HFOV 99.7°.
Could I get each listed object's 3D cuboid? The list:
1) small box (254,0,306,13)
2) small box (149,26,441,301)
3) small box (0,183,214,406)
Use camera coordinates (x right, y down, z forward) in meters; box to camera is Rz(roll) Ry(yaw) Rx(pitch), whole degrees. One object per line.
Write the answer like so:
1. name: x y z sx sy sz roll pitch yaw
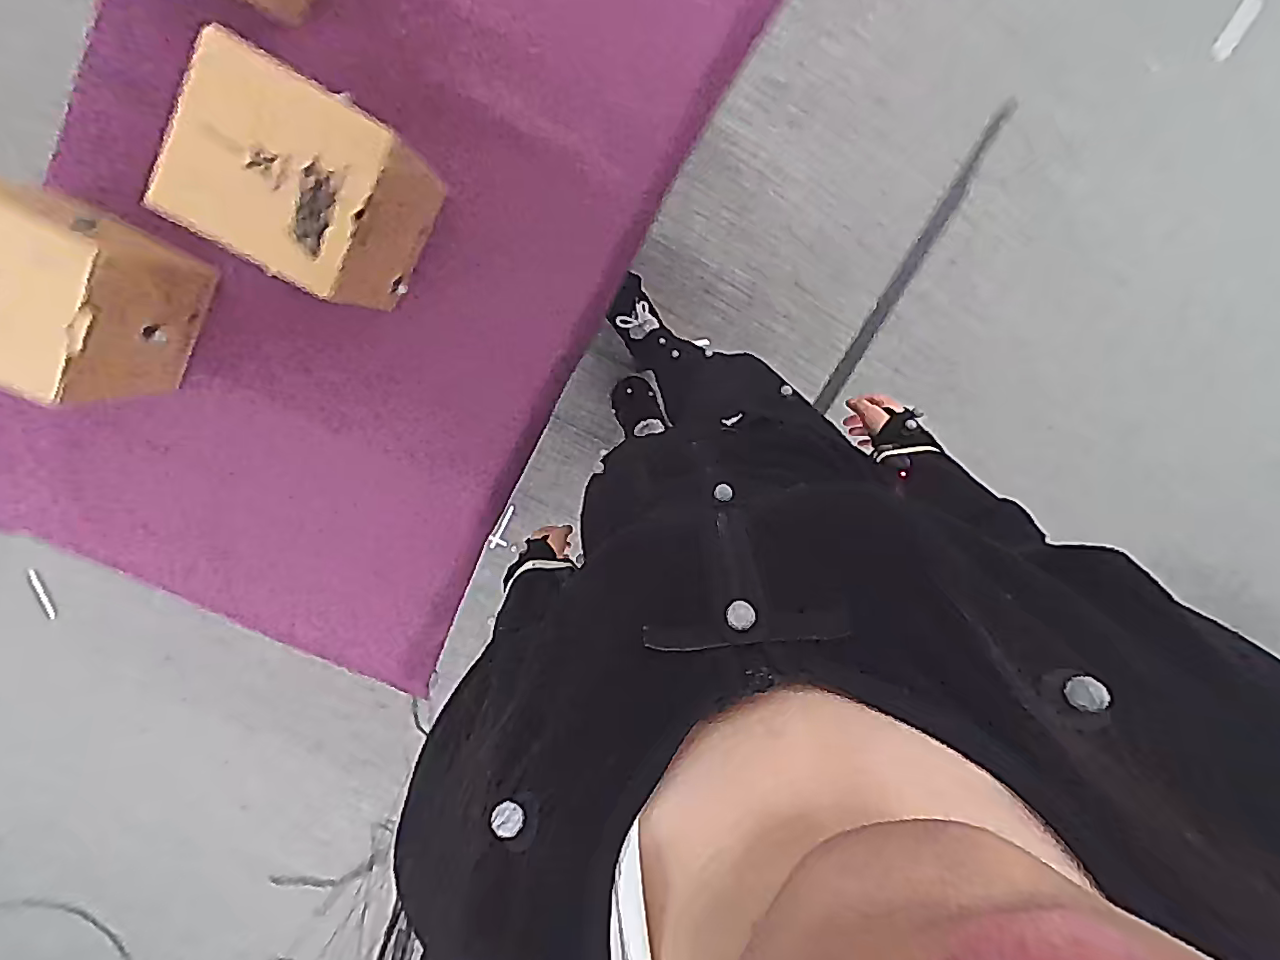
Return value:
1. small box: -0.413 -0.591 0.493 0.179 0.176 0.168 27 102 -11
2. small box: -0.339 -0.304 0.570 0.179 0.176 0.168 28 100 -9
3. small box: -0.613 -0.199 0.576 0.179 0.176 0.168 26 100 -12
